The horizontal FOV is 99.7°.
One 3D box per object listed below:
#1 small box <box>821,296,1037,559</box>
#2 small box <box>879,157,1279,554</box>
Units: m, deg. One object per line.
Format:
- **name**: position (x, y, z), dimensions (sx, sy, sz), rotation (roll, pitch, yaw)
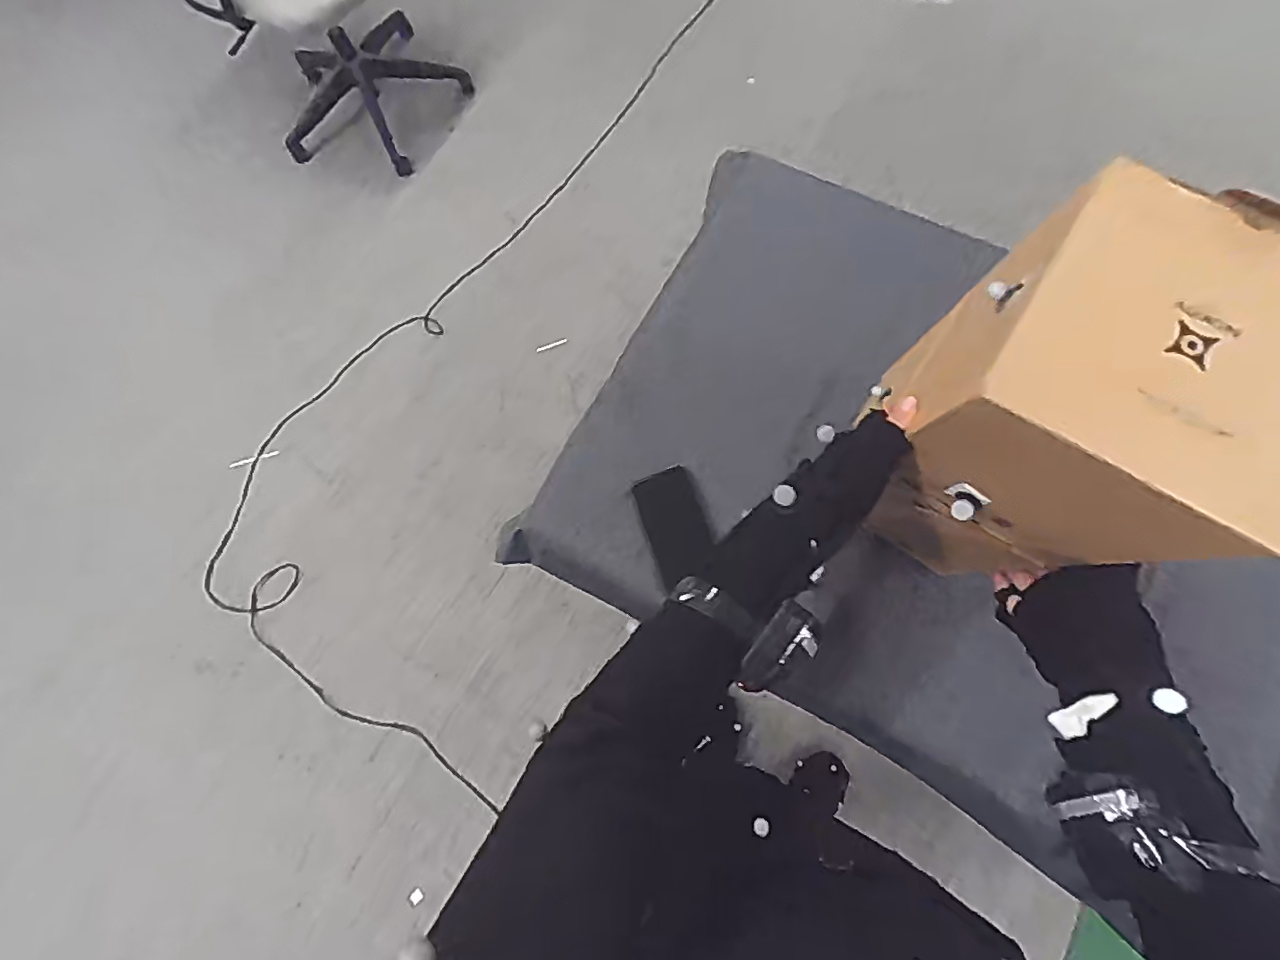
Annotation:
- **small box**: position (0.302, -0.035, 0.535), dimensions (0.168, 0.176, 0.179), rotation (34, 81, 7)
- **small box**: position (0.299, -0.064, 0.375), dimensions (0.168, 0.176, 0.179), rotation (31, 84, 8)
